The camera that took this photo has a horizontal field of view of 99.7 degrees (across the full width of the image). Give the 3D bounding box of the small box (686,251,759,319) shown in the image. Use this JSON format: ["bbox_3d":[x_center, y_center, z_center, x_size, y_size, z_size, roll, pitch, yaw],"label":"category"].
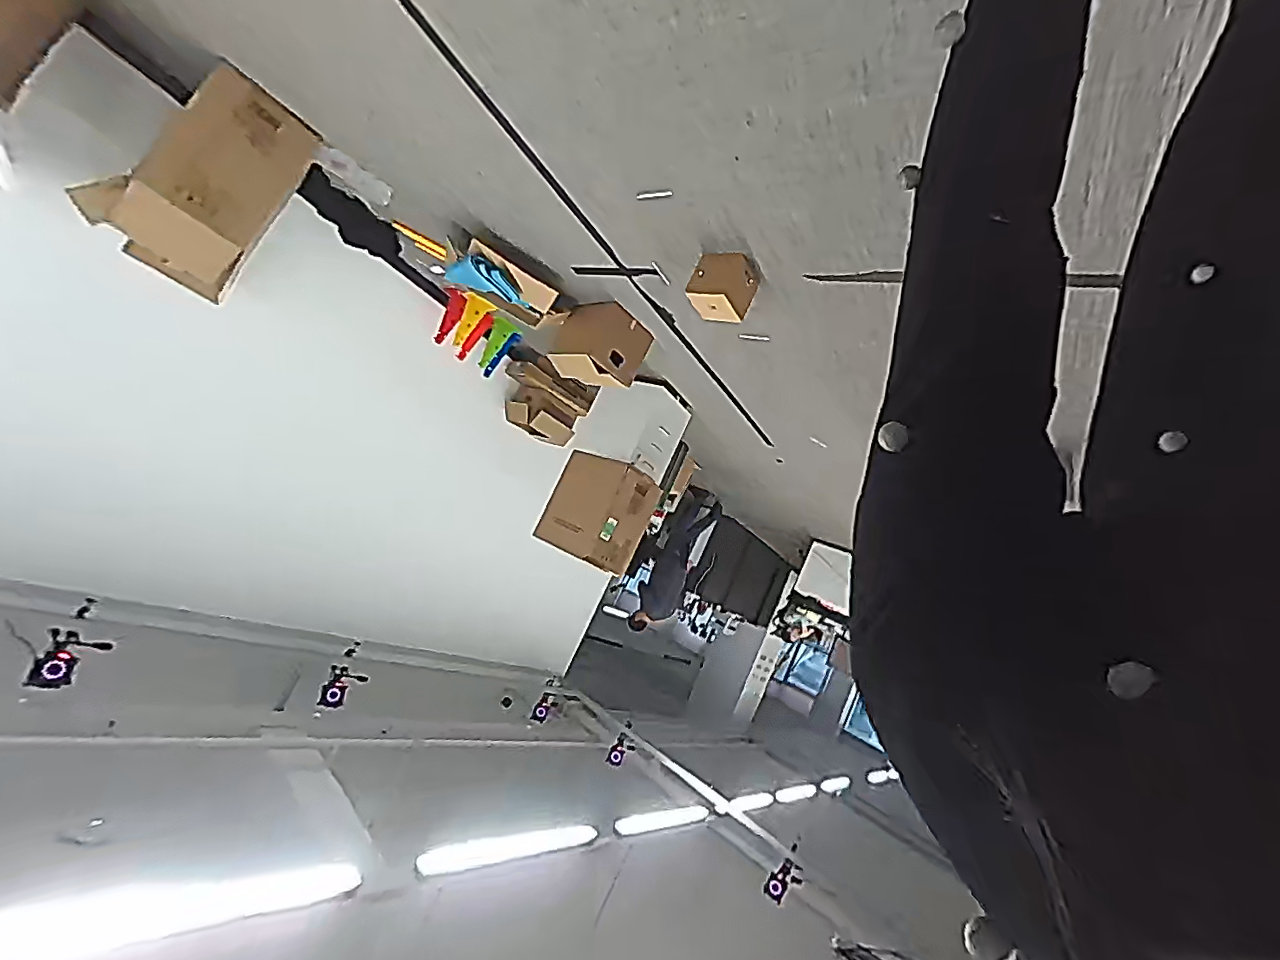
[{"bbox_3d":[0.300,-0.703,1.944,0.179,0.176,0.168,18,170,39],"label":"small box"}]
